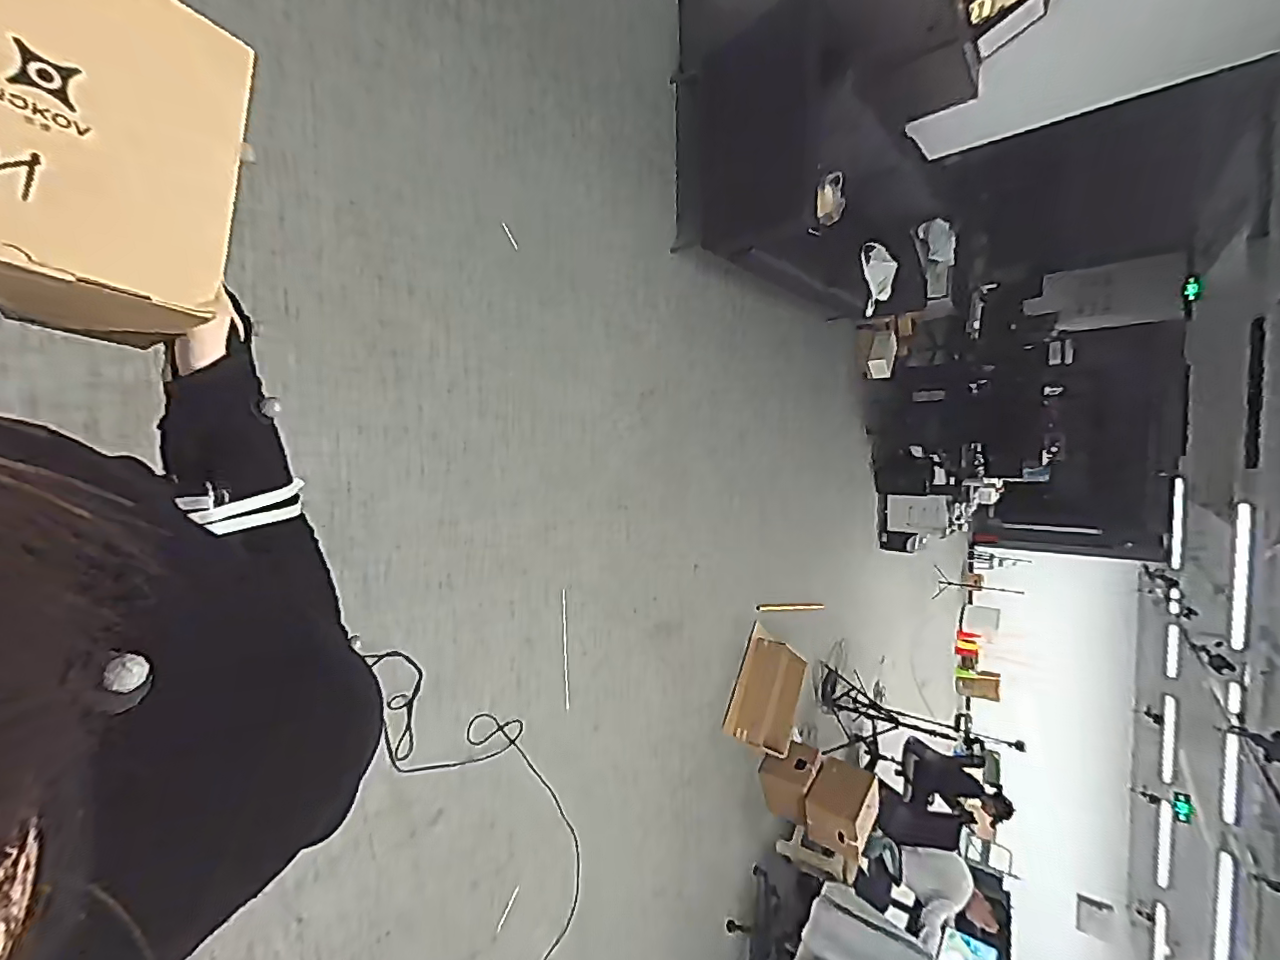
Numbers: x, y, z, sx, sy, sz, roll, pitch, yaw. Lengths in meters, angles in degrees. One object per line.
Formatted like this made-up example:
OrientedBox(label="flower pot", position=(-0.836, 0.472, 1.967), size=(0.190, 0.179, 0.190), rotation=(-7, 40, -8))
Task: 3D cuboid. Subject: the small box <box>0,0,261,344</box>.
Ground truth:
OrientedBox(label="small box", position=(-0.354, -0.194, 0.314), size=(0.168, 0.176, 0.179), rotation=(9, 85, -52))
